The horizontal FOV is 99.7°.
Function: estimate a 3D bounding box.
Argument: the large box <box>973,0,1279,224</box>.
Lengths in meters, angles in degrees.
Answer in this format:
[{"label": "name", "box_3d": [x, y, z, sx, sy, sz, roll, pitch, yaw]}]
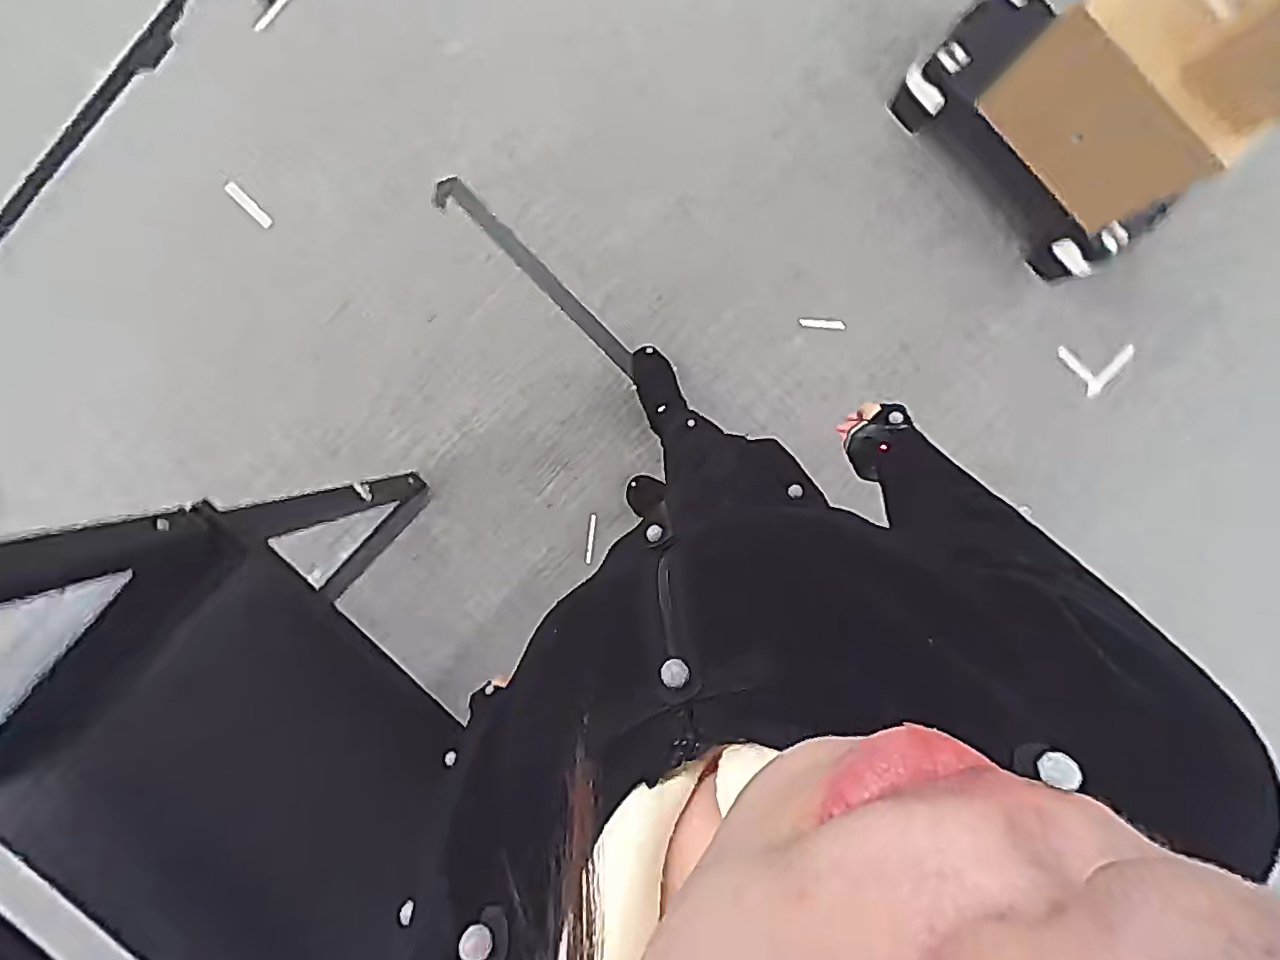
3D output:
[{"label": "large box", "box_3d": [0.997, -0.815, 1.082, 0.408, 0.320, 0.320, 44, 93, -2]}]

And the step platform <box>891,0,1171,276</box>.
[{"label": "step platform", "box_3d": [0.947, -0.858, 1.318, 0.286, 0.204, 0.684, -40, 93, 3]}]

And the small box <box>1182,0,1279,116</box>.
[{"label": "small box", "box_3d": [1.037, -0.717, 0.844, 0.179, 0.176, 0.168, 44, 94, -2]}]
